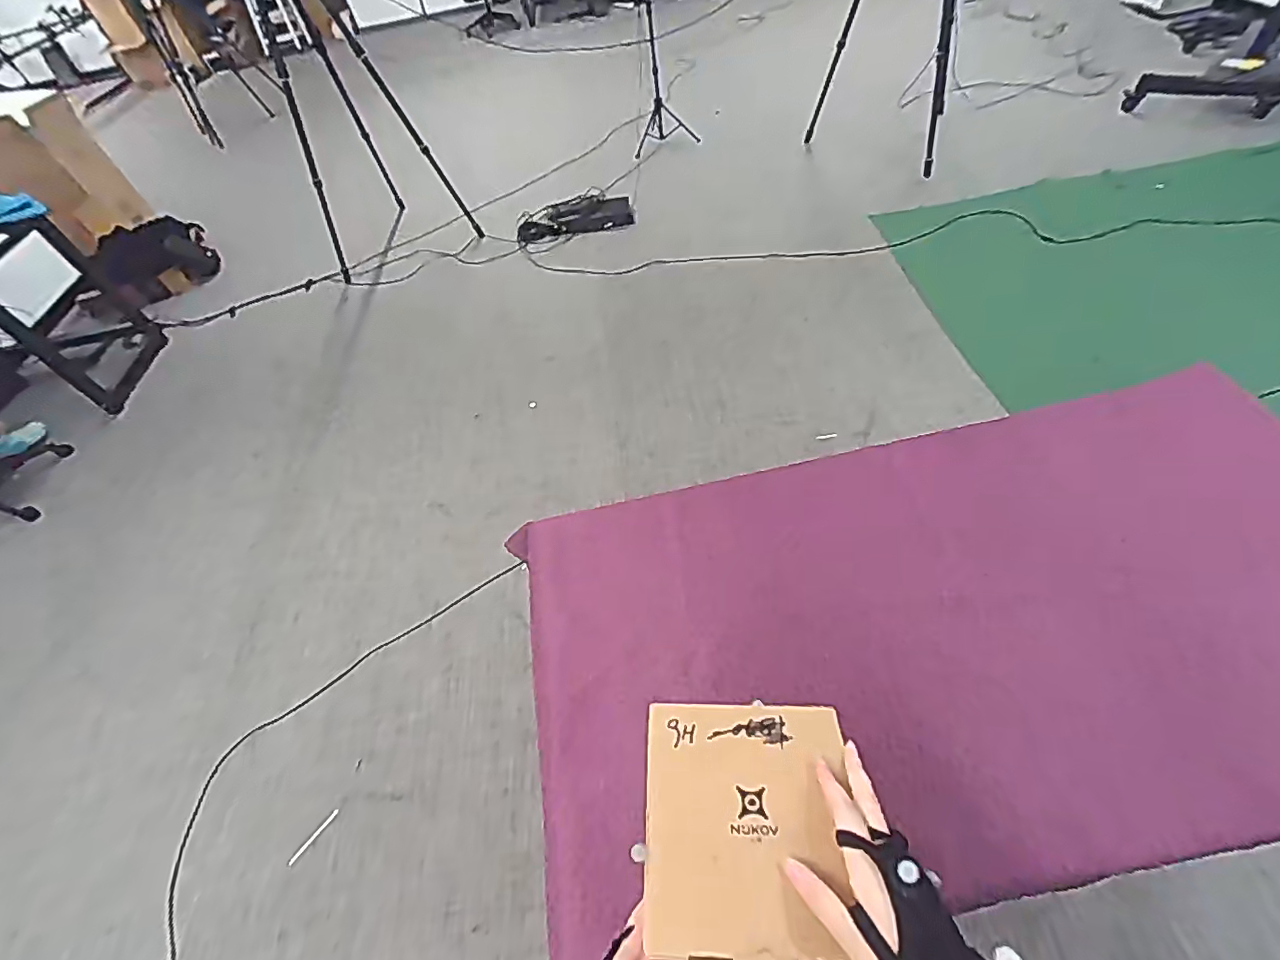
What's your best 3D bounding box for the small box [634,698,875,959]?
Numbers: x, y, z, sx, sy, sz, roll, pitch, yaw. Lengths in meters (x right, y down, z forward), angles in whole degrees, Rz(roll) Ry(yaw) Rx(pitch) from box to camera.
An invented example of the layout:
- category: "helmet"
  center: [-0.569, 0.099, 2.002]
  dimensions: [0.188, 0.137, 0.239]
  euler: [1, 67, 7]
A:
- category: "small box"
  center: [0.086, 0.315, 0.478]
  dimensions: [0.168, 0.176, 0.179]
  euler: [1, 45, 3]
